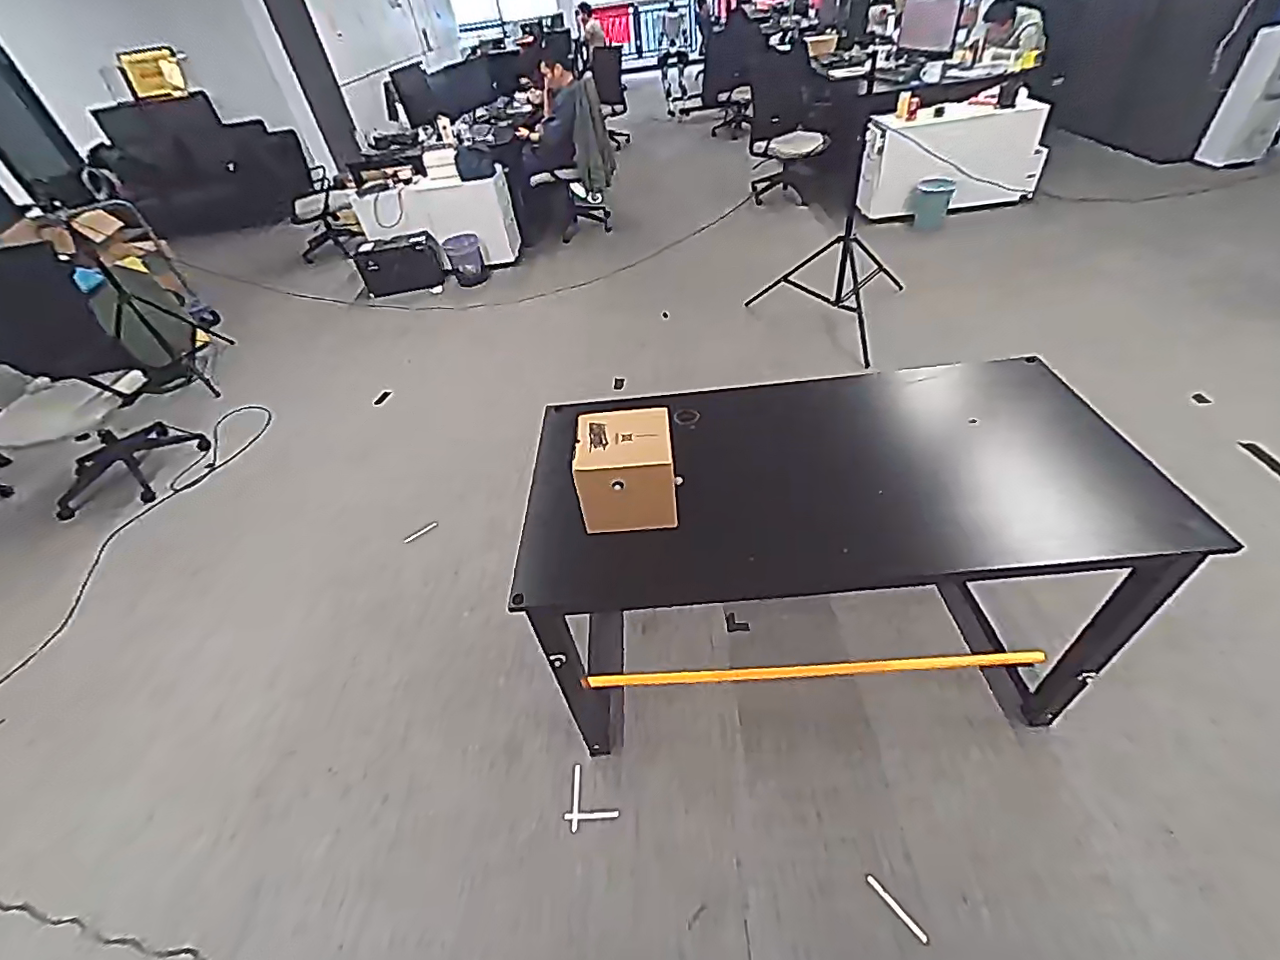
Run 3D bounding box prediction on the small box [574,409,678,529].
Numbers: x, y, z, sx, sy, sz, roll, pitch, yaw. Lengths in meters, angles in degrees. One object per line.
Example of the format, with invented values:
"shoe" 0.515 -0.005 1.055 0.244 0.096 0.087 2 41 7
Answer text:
"small box" -0.021 -0.018 1.052 0.179 0.176 0.168 -4 43 4
